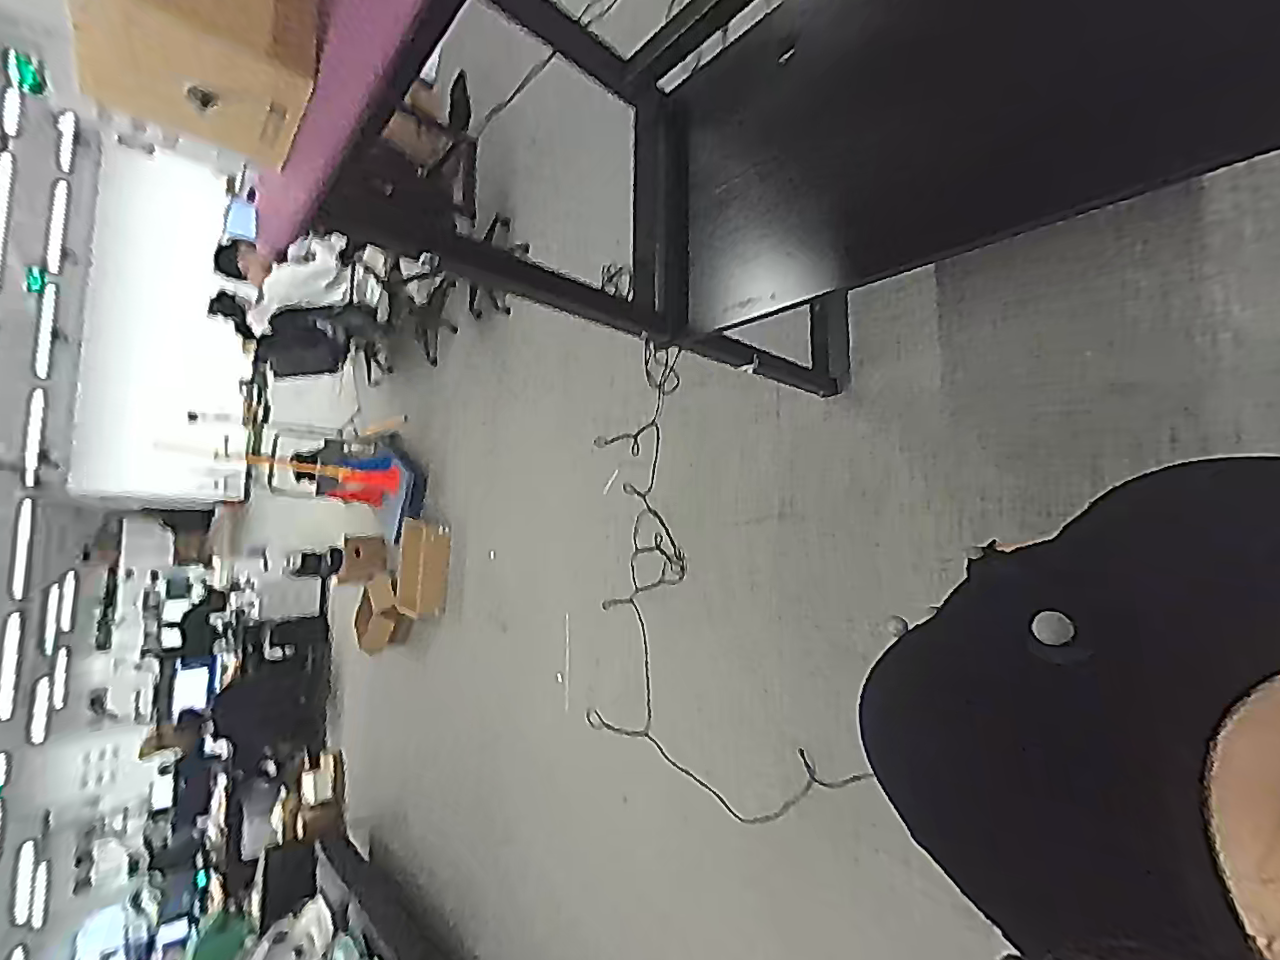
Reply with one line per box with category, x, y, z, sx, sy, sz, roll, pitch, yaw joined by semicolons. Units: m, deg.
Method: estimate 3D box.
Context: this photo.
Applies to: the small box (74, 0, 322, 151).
small box;-0.420;-0.460;0.524;0.168;0.176;0.179;-9;80;45
